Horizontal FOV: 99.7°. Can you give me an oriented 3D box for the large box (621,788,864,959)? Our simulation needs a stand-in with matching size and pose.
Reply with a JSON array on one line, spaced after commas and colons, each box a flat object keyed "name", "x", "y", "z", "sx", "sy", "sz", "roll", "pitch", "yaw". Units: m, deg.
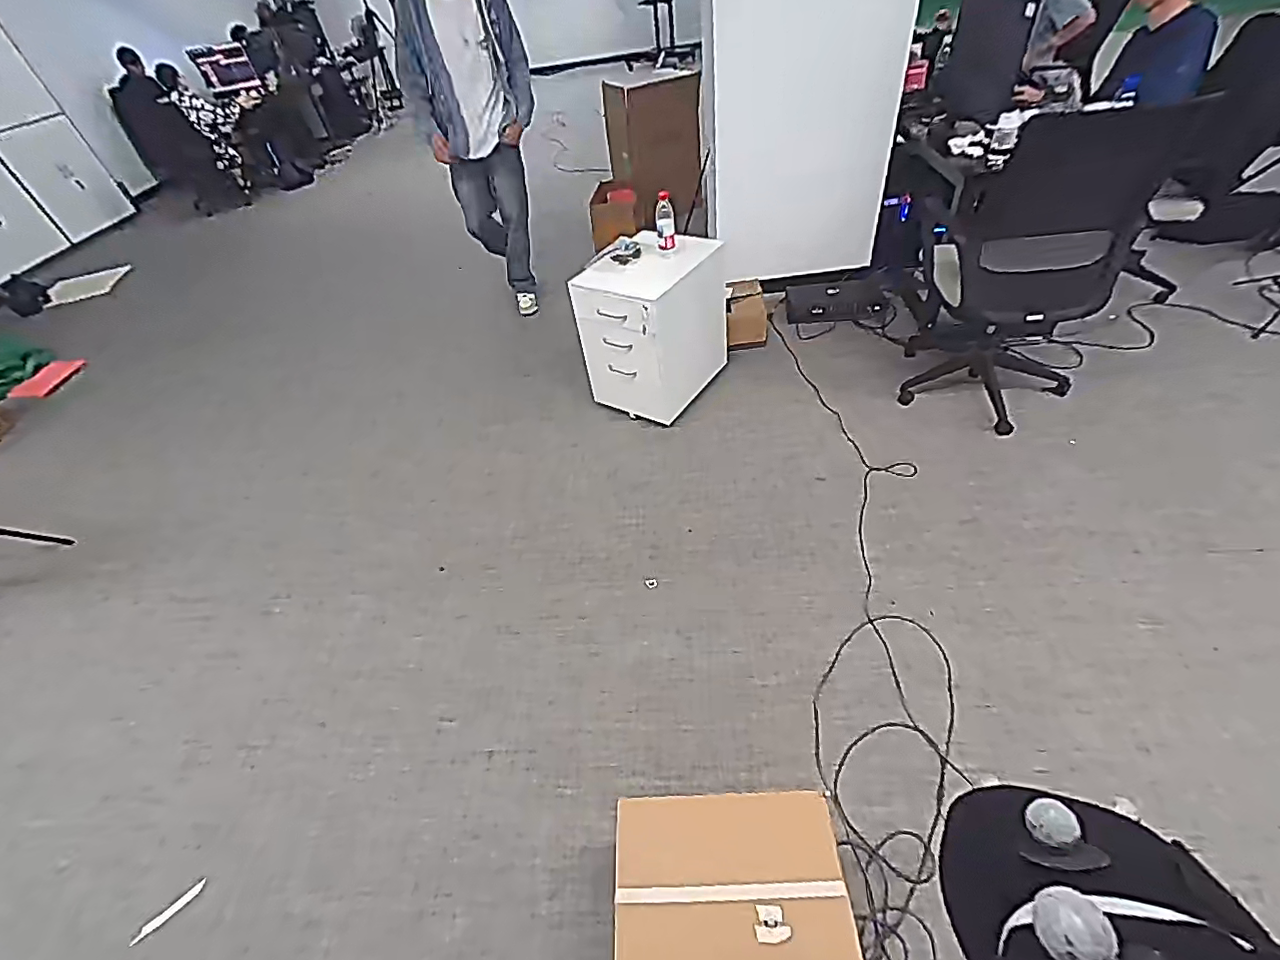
[{"name": "large box", "x": 0.178, "y": 0.832, "z": 1.057, "sx": 0.408, "sy": 0.320, "sz": 0.320, "roll": -5, "pitch": 44, "yaw": 5}]
